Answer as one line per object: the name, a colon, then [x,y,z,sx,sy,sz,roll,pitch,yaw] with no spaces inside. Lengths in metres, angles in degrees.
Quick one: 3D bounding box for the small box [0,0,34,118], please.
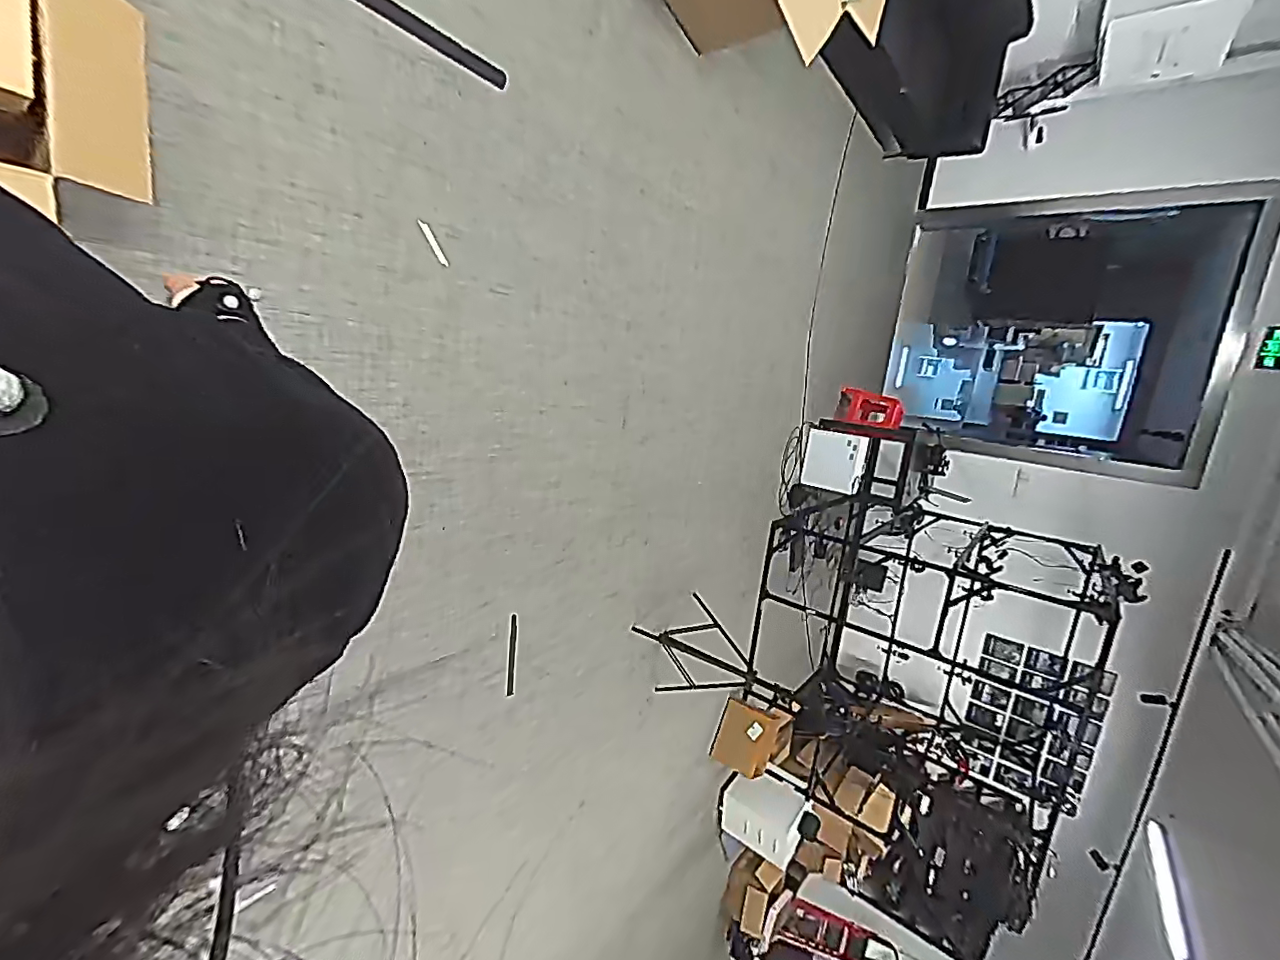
small box: [-0.936,-0.604,0.704,0.179,0.176,0.168,-5,104,-53]
